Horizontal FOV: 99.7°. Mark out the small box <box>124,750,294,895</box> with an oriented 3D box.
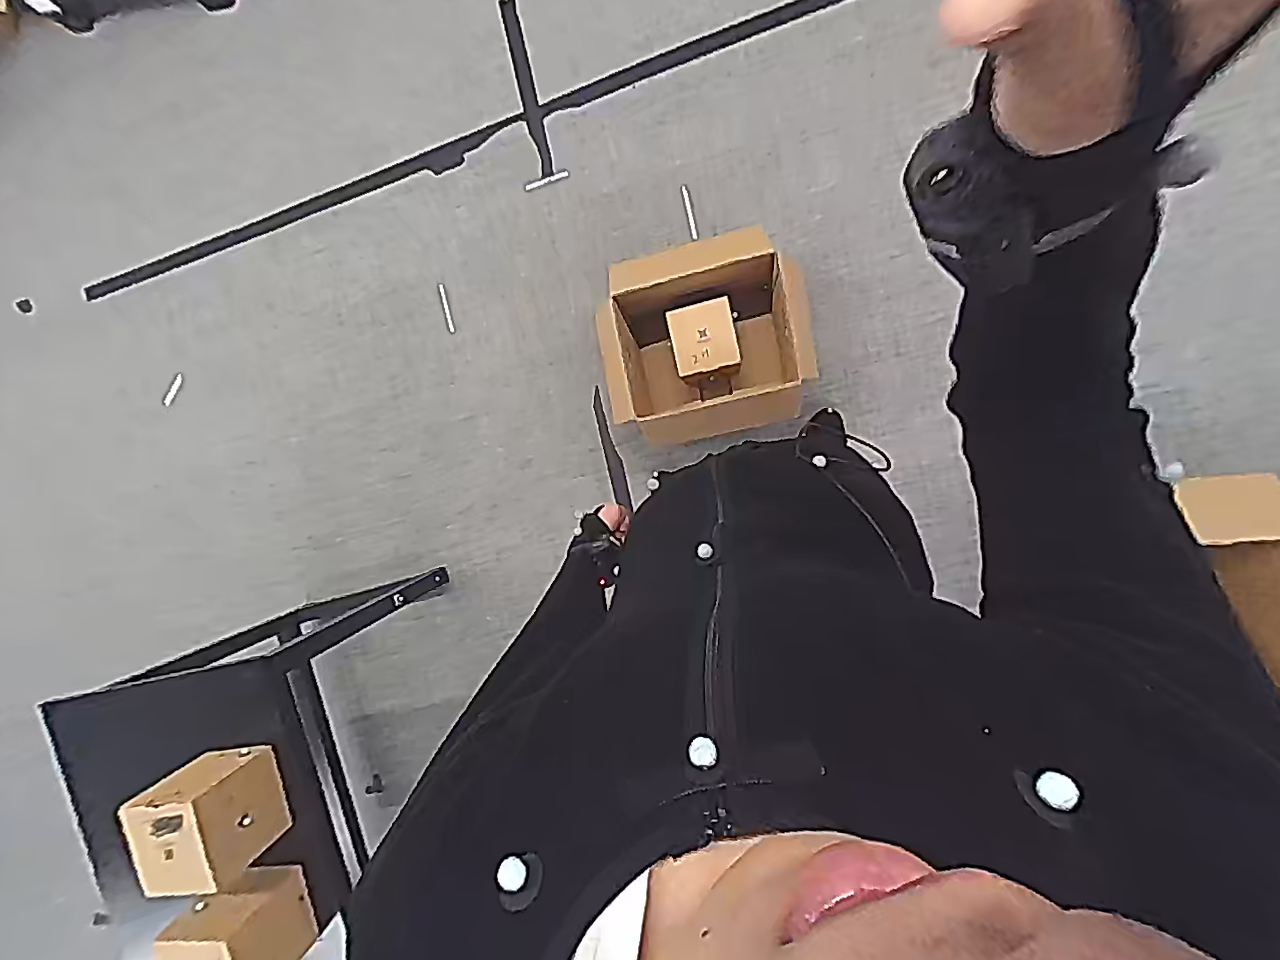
[{"bbox_3d":[-0.811,0.642,1.034,0.168,0.176,0.179,-12,95,12],"label":"small box"}]
